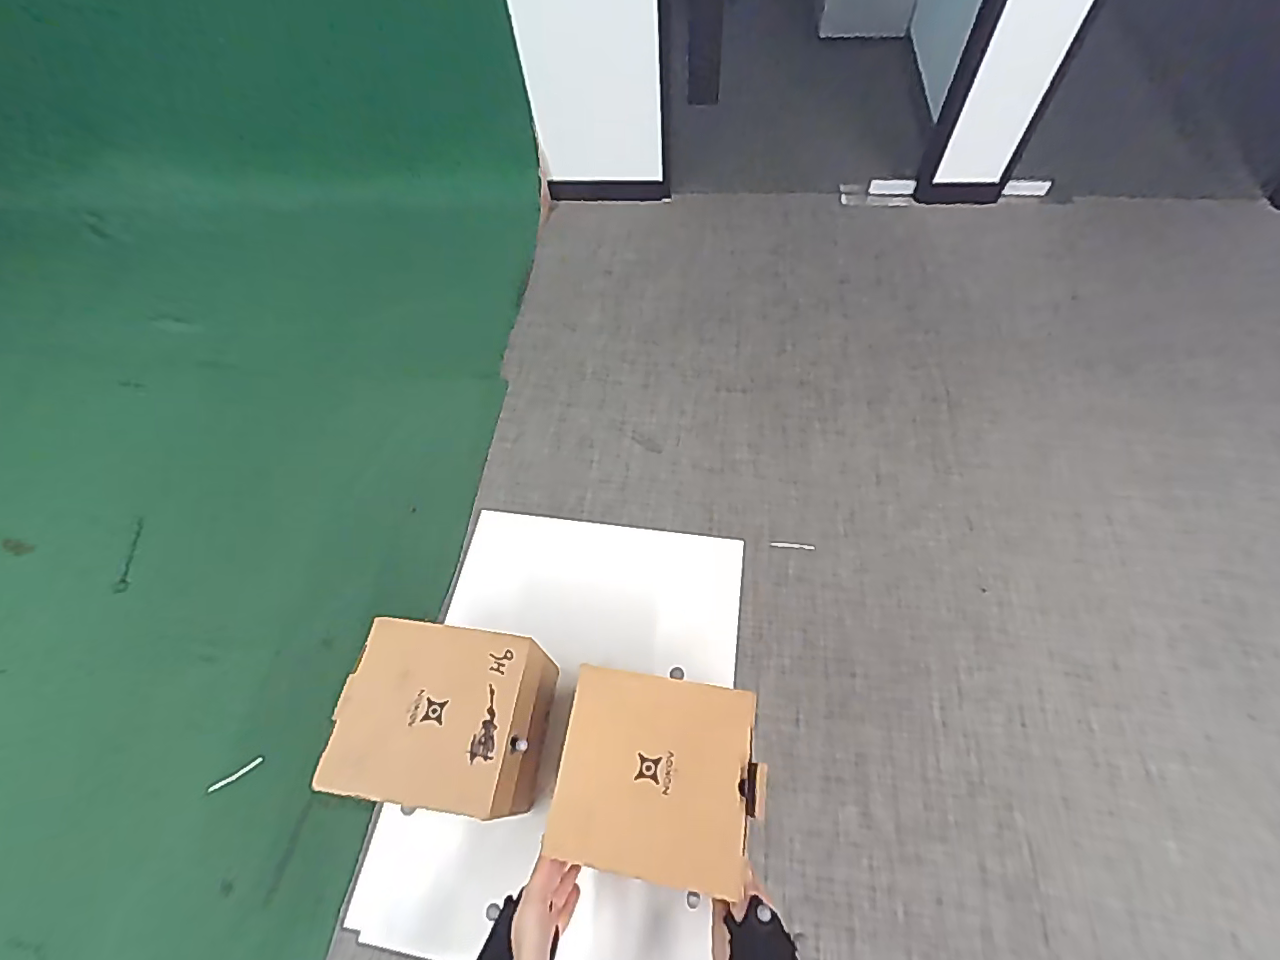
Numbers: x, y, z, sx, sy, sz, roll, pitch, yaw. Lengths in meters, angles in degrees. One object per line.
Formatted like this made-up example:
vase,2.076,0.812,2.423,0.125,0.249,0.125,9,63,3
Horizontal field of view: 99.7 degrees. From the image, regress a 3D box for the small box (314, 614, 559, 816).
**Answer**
small box,-0.204,0.261,0.601,0.179,0.176,0.168,6,62,7
